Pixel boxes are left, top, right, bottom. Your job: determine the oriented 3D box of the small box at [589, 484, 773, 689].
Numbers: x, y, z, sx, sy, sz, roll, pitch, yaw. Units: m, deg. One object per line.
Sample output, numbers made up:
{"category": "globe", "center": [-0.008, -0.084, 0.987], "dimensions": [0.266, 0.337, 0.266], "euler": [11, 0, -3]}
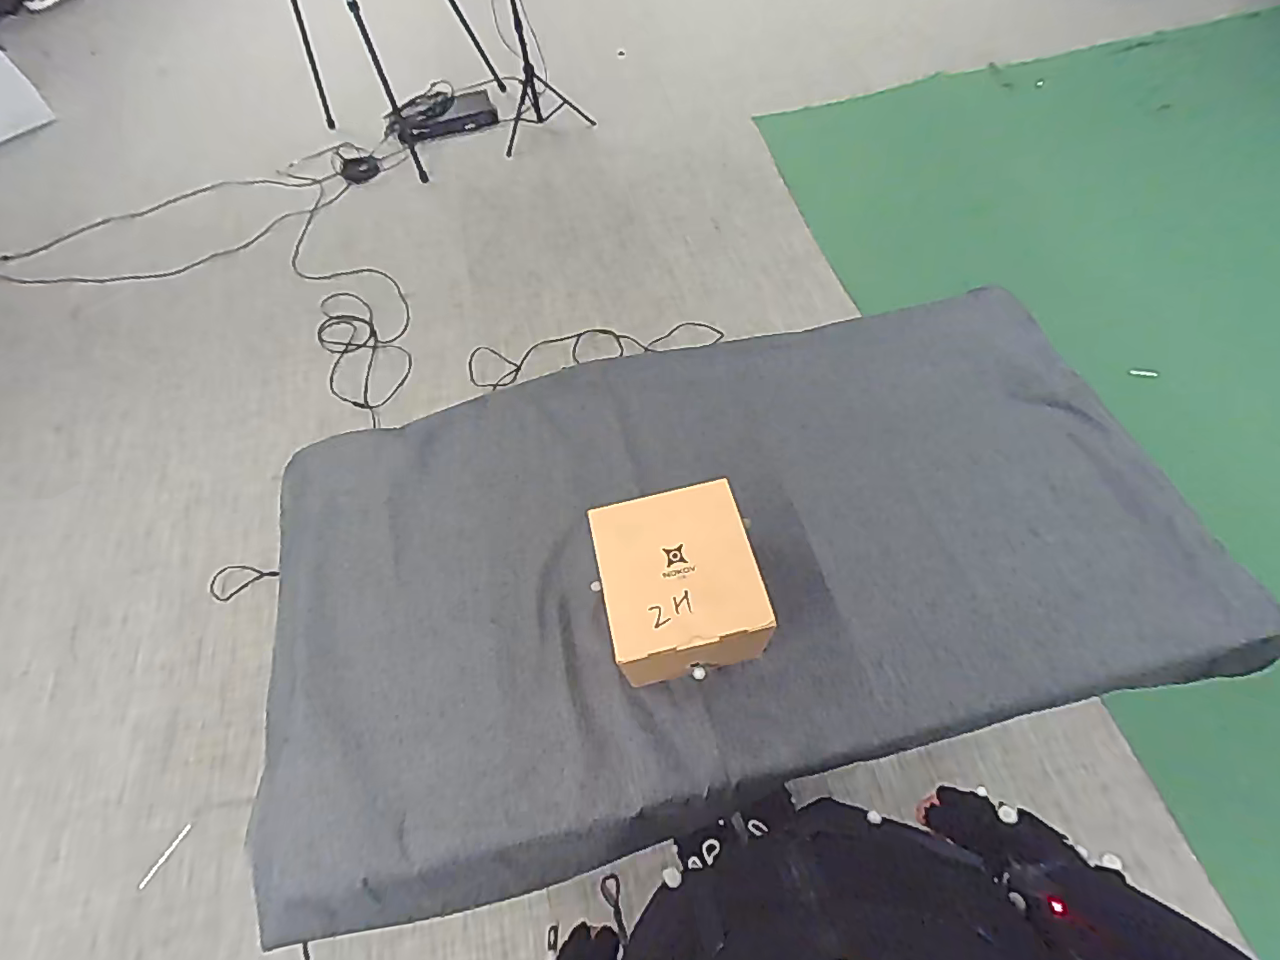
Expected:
{"category": "small box", "center": [0.043, 0.133, 0.644], "dimensions": [0.168, 0.176, 0.179], "euler": [-14, 61, -1]}
